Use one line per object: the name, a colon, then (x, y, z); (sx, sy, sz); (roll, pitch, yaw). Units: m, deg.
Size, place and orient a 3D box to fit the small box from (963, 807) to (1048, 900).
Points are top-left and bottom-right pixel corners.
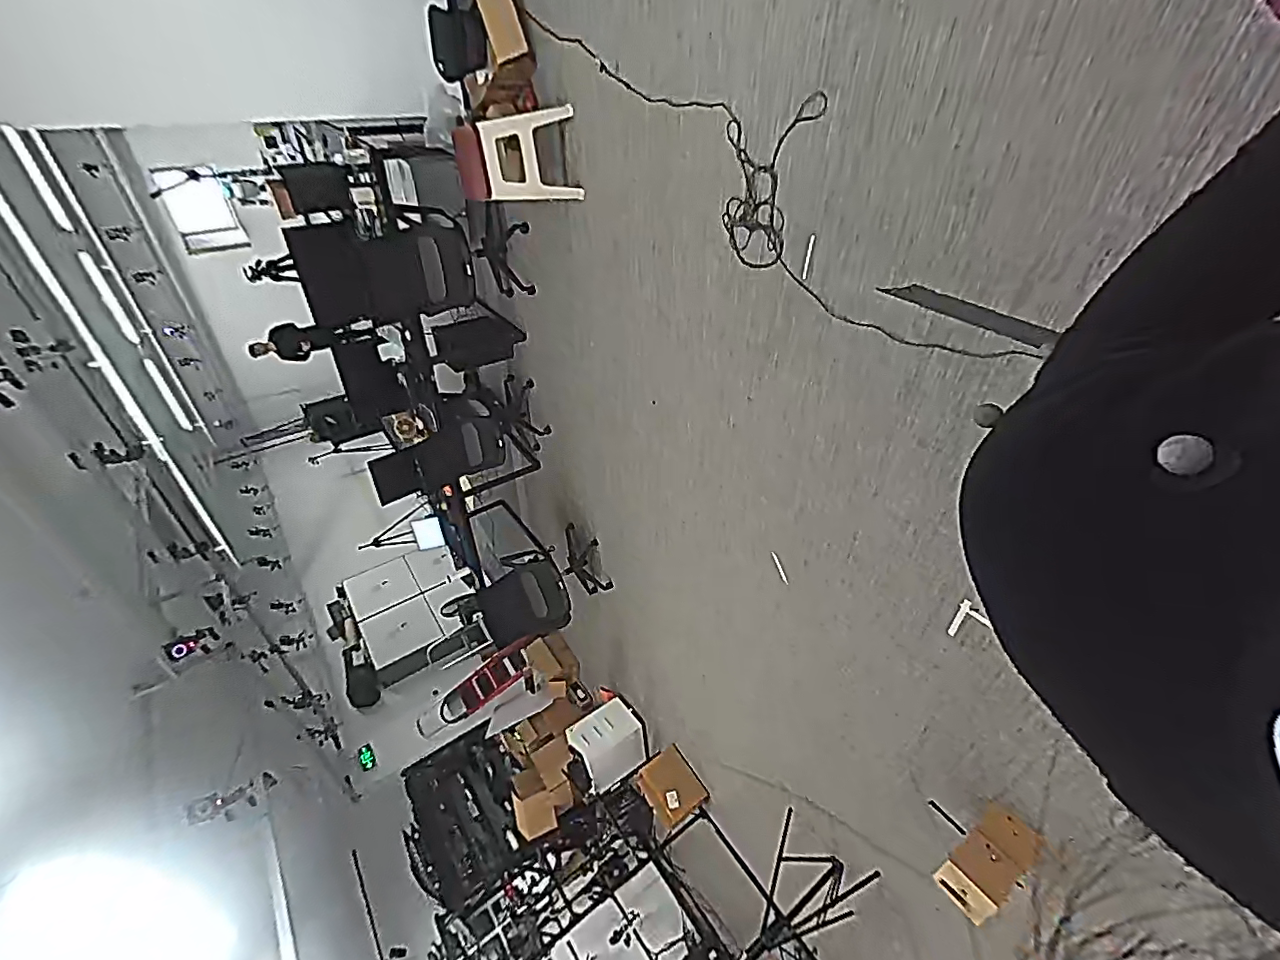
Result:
small box: (1.261, 1.285, 1.866); (0.168, 0.176, 0.179); (37, 140, 43)
